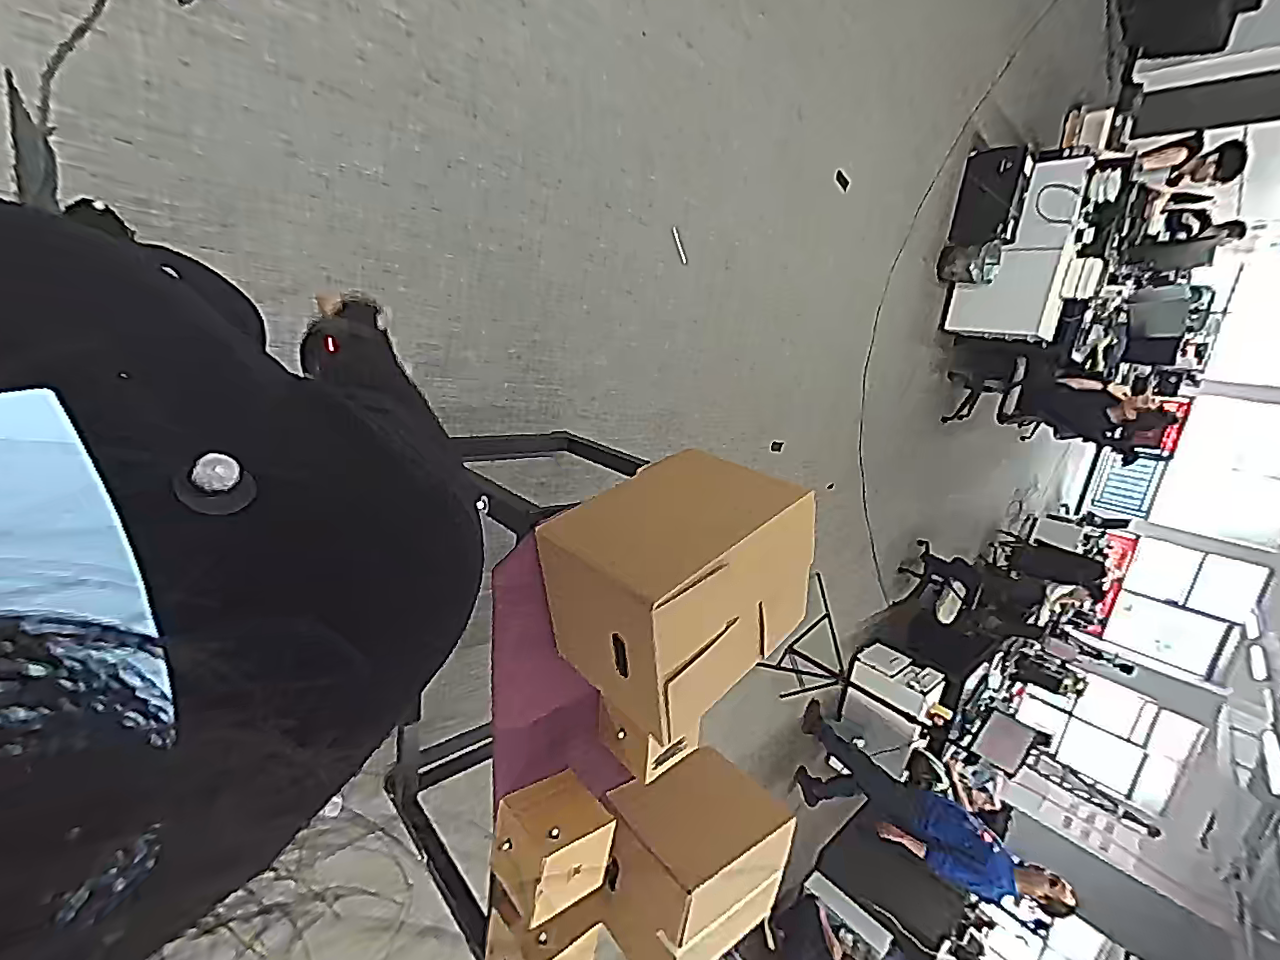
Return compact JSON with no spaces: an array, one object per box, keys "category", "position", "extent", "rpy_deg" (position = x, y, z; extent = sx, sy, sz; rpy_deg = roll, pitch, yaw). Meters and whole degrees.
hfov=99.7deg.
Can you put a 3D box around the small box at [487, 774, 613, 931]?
[{"category":"small box","position":[-0.187,0.745,1.108],"extent":[0.179,0.176,0.168],"rpy_deg":[2,104,-44]}]

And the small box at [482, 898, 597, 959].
[{"category":"small box","position":[-0.222,1.010,1.173],"extent":[0.179,0.176,0.168],"rpy_deg":[-1,106,-46]}]
